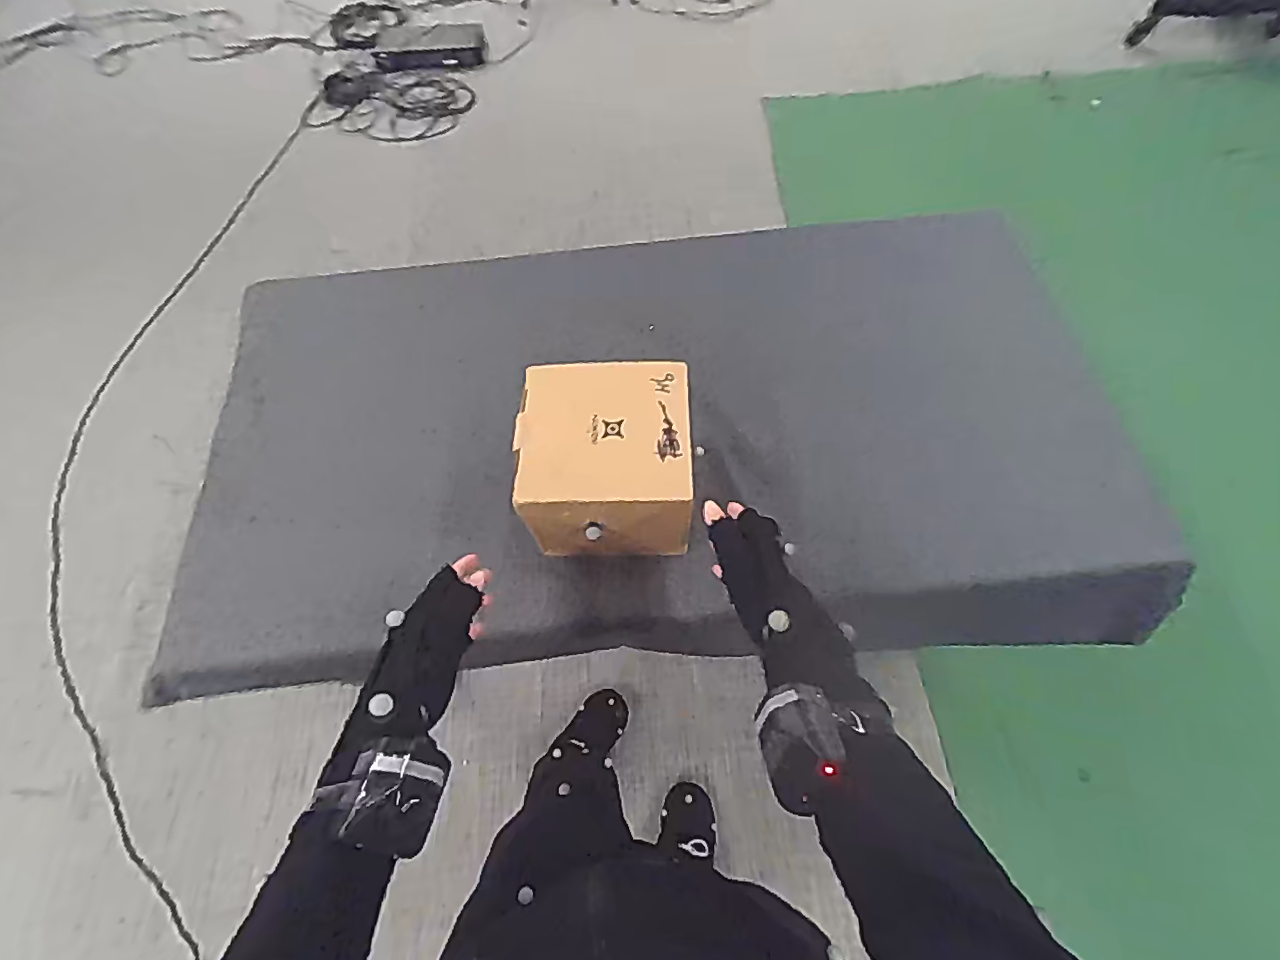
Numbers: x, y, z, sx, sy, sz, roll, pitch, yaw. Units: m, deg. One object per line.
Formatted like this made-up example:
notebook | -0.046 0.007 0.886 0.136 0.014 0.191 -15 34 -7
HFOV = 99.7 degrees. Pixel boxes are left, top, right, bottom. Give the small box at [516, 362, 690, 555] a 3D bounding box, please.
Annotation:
small box | -0.036 -0.017 0.636 0.179 0.176 0.168 -3 62 0
